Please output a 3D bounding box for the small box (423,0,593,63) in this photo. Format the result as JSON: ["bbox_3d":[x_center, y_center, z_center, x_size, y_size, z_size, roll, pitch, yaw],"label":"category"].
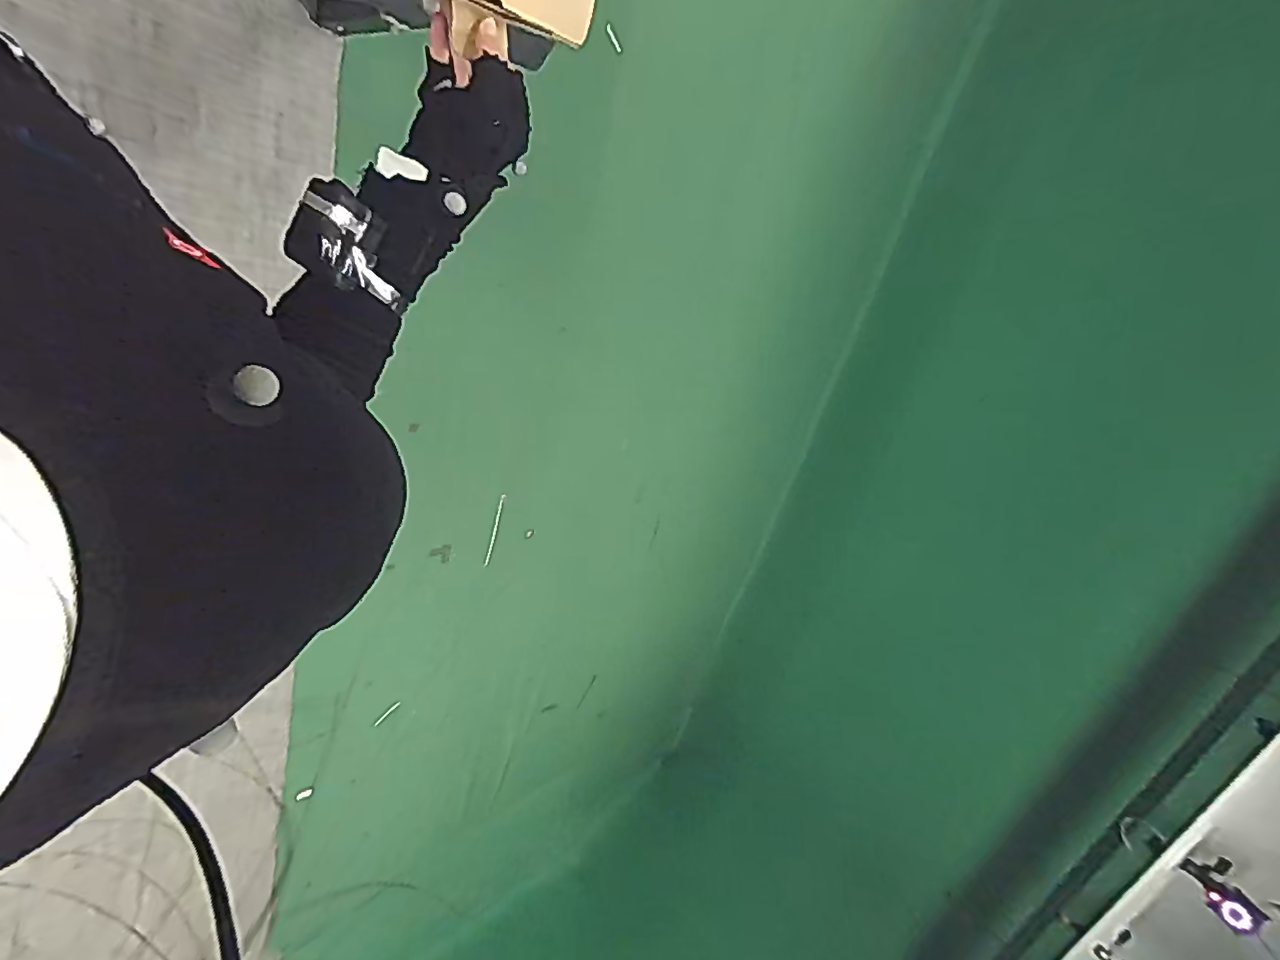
[{"bbox_3d":[-0.129,-0.440,0.376,0.168,0.176,0.179,-16,140,-44],"label":"small box"}]
